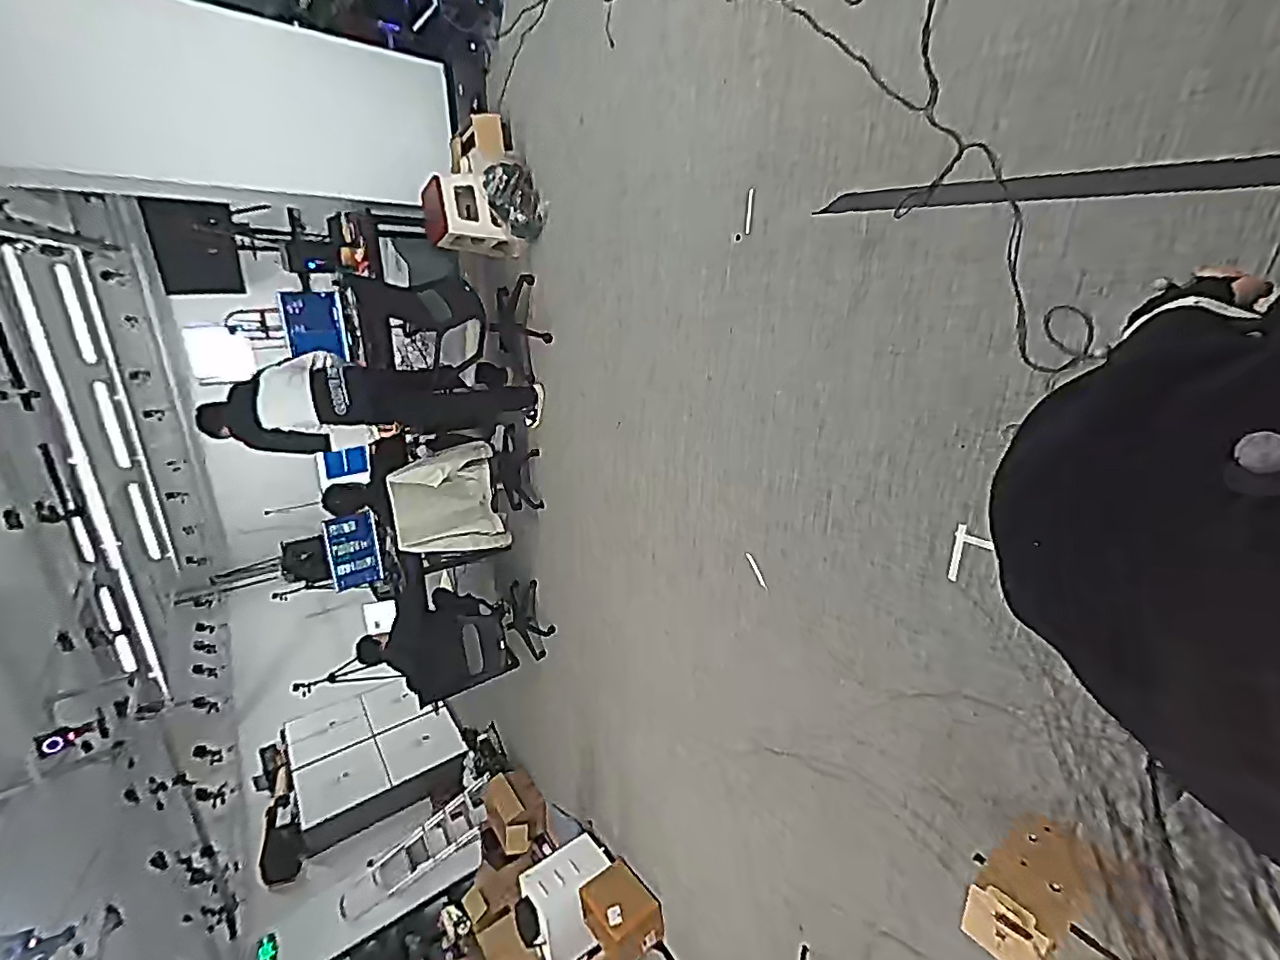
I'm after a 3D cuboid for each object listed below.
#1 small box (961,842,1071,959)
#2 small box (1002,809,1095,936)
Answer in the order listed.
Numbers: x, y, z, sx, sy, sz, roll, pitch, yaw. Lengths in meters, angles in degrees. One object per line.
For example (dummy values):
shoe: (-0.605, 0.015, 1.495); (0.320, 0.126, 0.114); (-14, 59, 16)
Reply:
small box: (0.932, 1.055, 1.339); (0.168, 0.176, 0.179); (22, 120, 50)
small box: (1.067, 1.024, 1.429); (0.168, 0.176, 0.179); (21, 120, 51)
